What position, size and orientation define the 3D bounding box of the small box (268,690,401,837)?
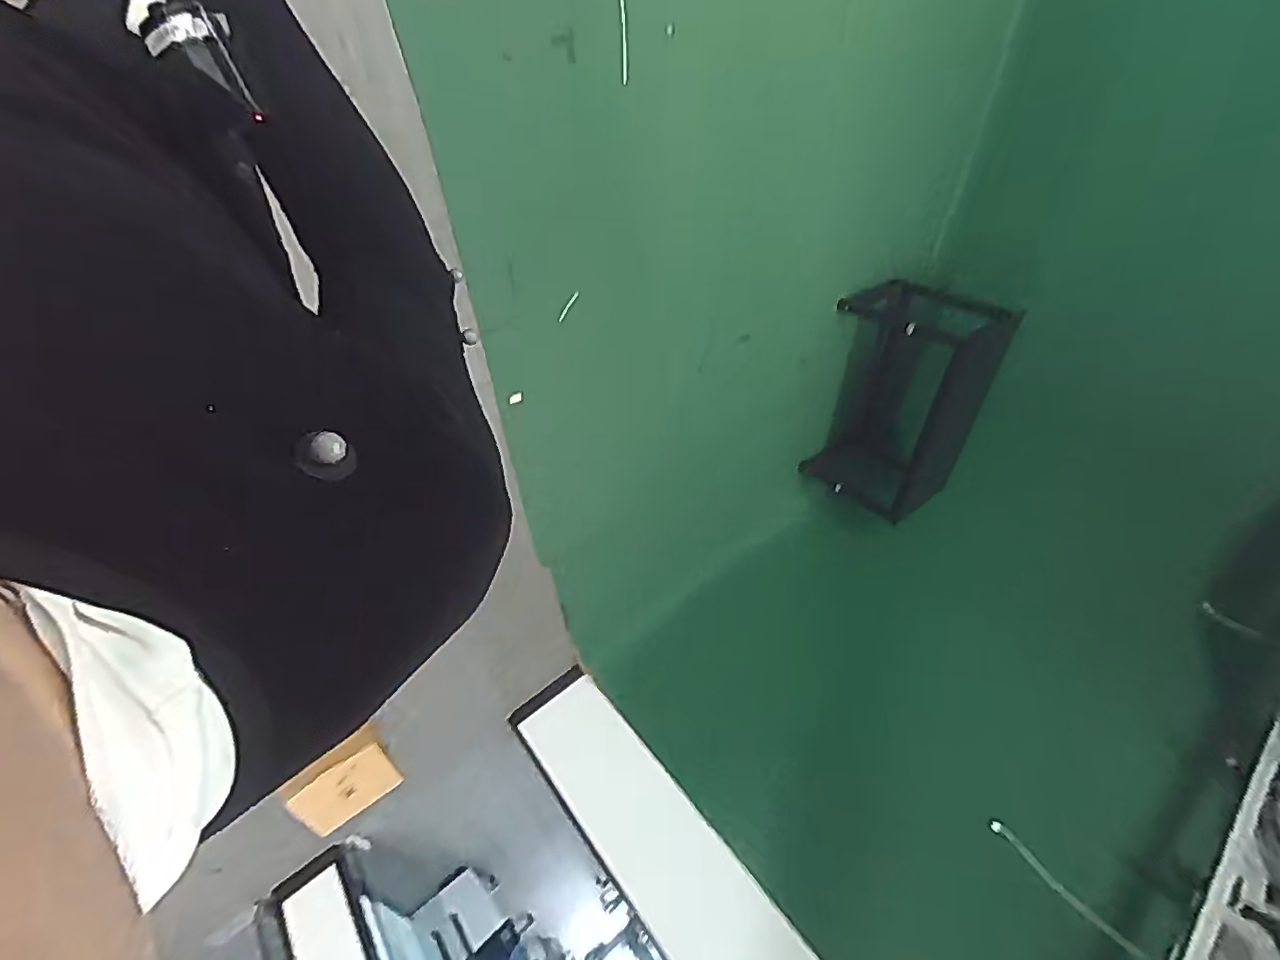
[{"bbox_3d":[-0.619,0.569,1.101,0.168,0.176,0.179,-29,134,-27],"label":"small box"}]
